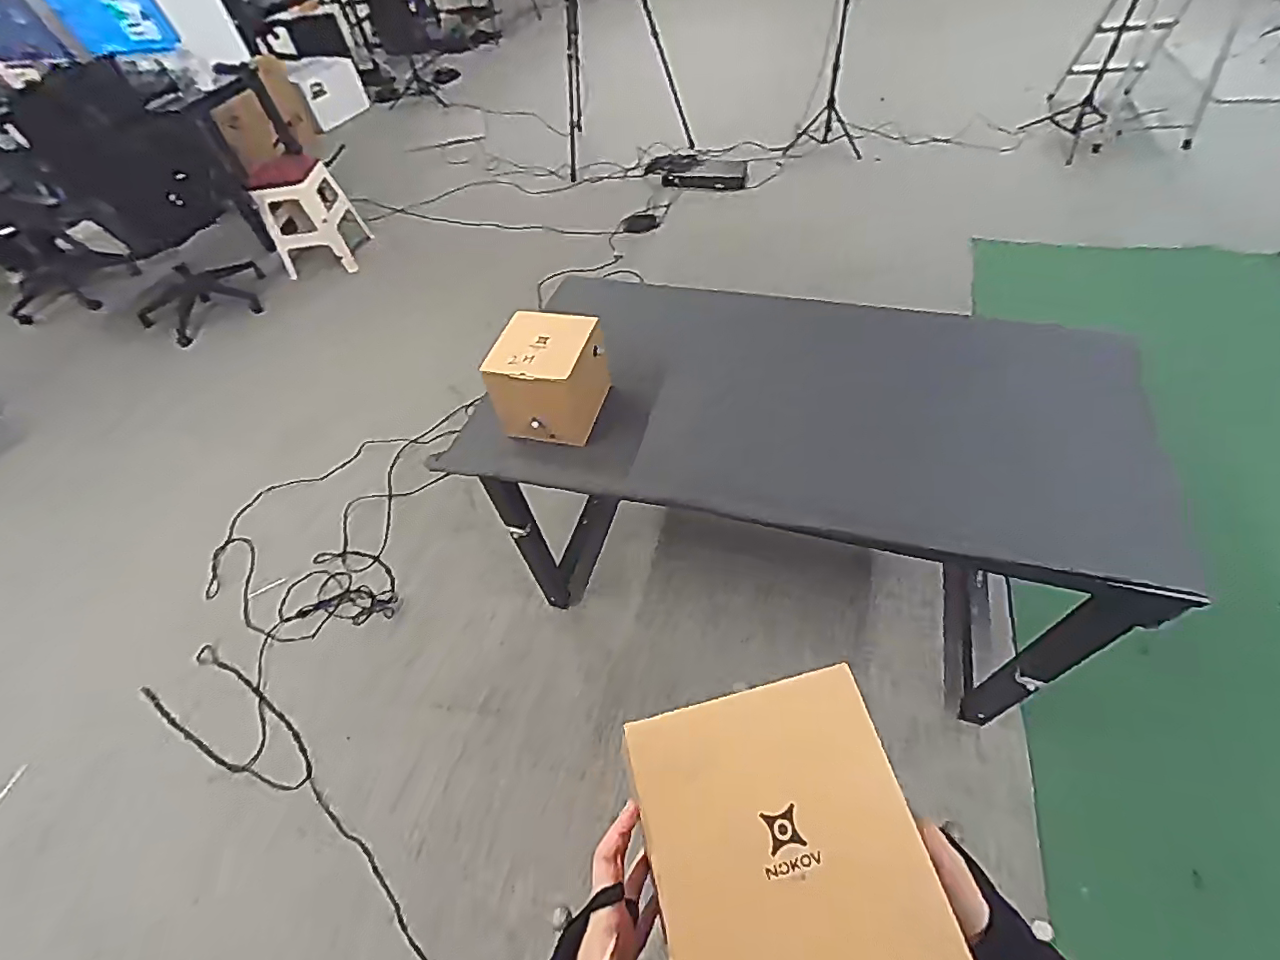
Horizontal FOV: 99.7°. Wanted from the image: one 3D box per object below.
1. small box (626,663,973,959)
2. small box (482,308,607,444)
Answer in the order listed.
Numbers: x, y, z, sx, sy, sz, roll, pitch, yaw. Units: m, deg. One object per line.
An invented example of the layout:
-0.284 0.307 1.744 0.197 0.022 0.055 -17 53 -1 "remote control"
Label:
0.086 0.256 0.399 0.168 0.176 0.179 -12 62 -8 "small box"
-0.166 -0.194 1.015 0.168 0.176 0.179 10 54 13 "small box"
